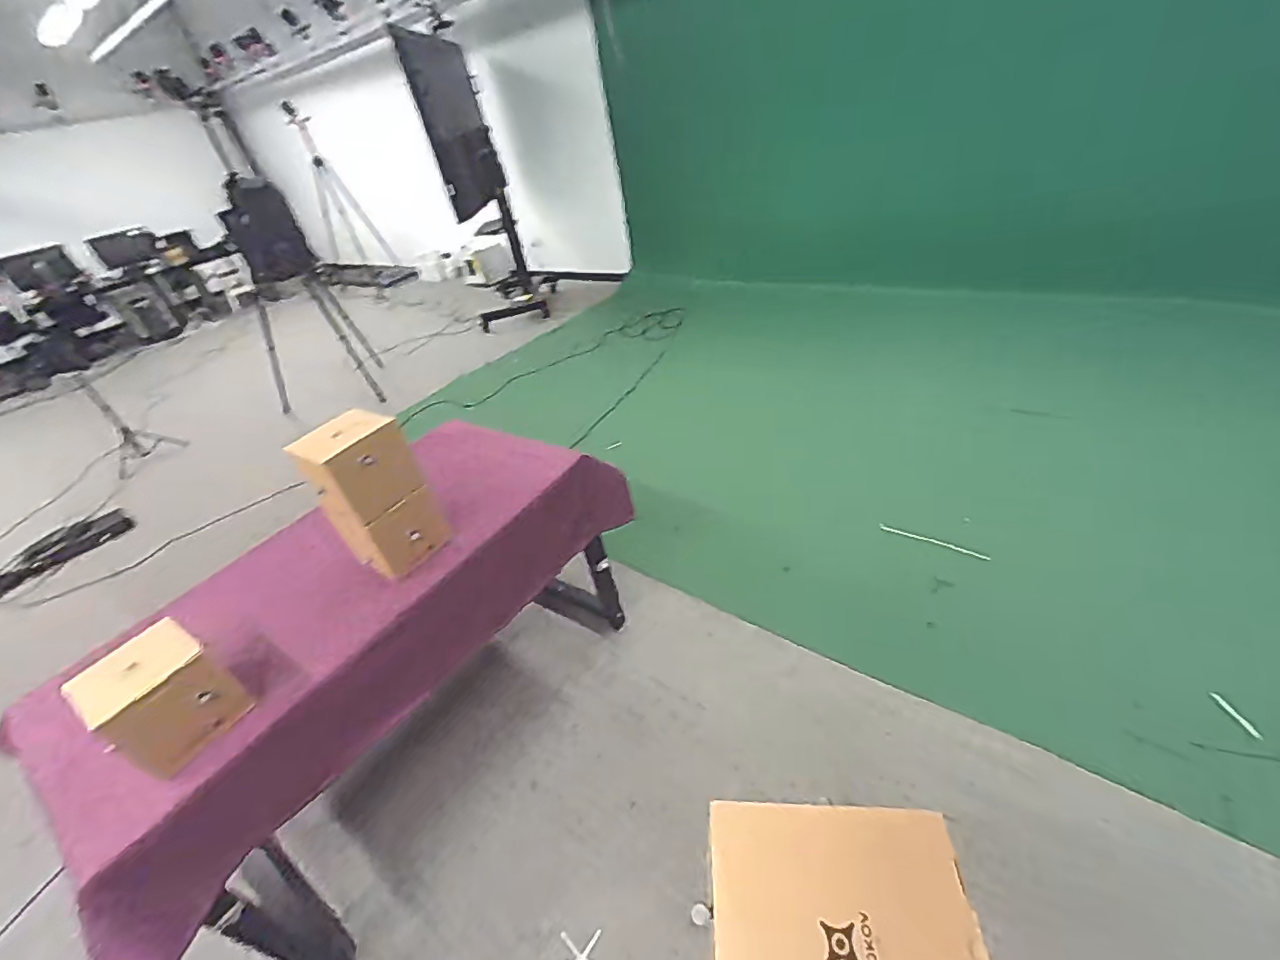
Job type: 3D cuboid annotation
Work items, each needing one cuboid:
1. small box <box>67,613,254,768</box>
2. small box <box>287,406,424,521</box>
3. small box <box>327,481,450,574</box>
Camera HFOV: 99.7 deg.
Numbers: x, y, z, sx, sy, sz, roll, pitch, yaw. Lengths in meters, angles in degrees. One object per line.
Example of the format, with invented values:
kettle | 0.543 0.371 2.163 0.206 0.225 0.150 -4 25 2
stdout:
small box | -0.841 0.376 0.964 0.179 0.176 0.168 14 42 32
small box | -0.608 -0.036 1.175 0.168 0.176 0.179 15 44 32
small box | -0.582 0.096 1.271 0.179 0.176 0.168 16 44 32
